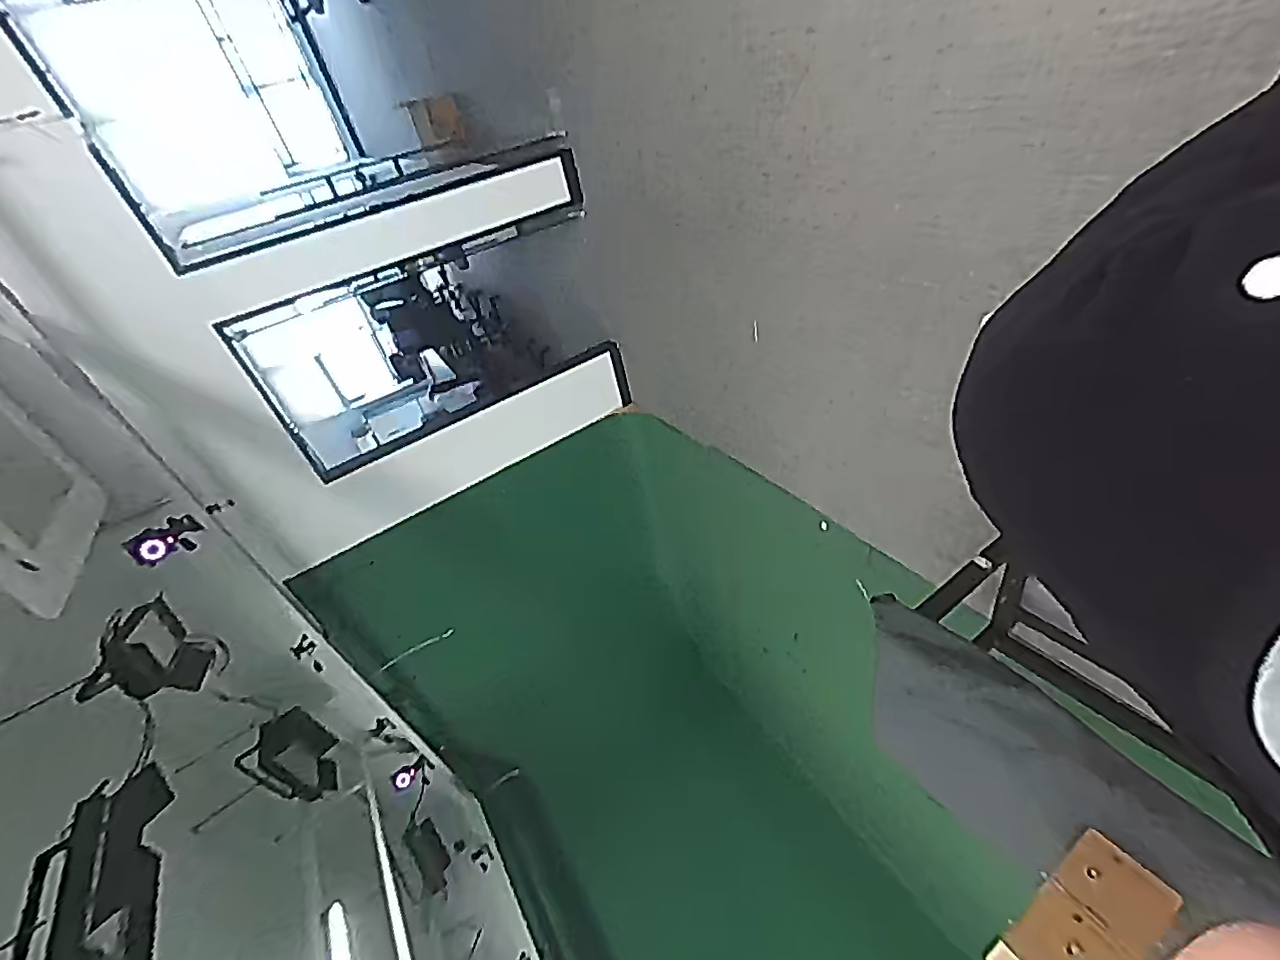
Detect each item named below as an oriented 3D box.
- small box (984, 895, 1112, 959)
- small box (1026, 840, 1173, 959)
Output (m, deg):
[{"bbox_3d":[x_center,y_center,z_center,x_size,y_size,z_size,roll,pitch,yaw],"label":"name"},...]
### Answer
[{"bbox_3d":[0.829,0.989,1.087,0.168,0.176,0.179,41,151,47],"label":"small box"},{"bbox_3d":[0.962,0.910,1.139,0.168,0.176,0.179,40,152,48],"label":"small box"}]
